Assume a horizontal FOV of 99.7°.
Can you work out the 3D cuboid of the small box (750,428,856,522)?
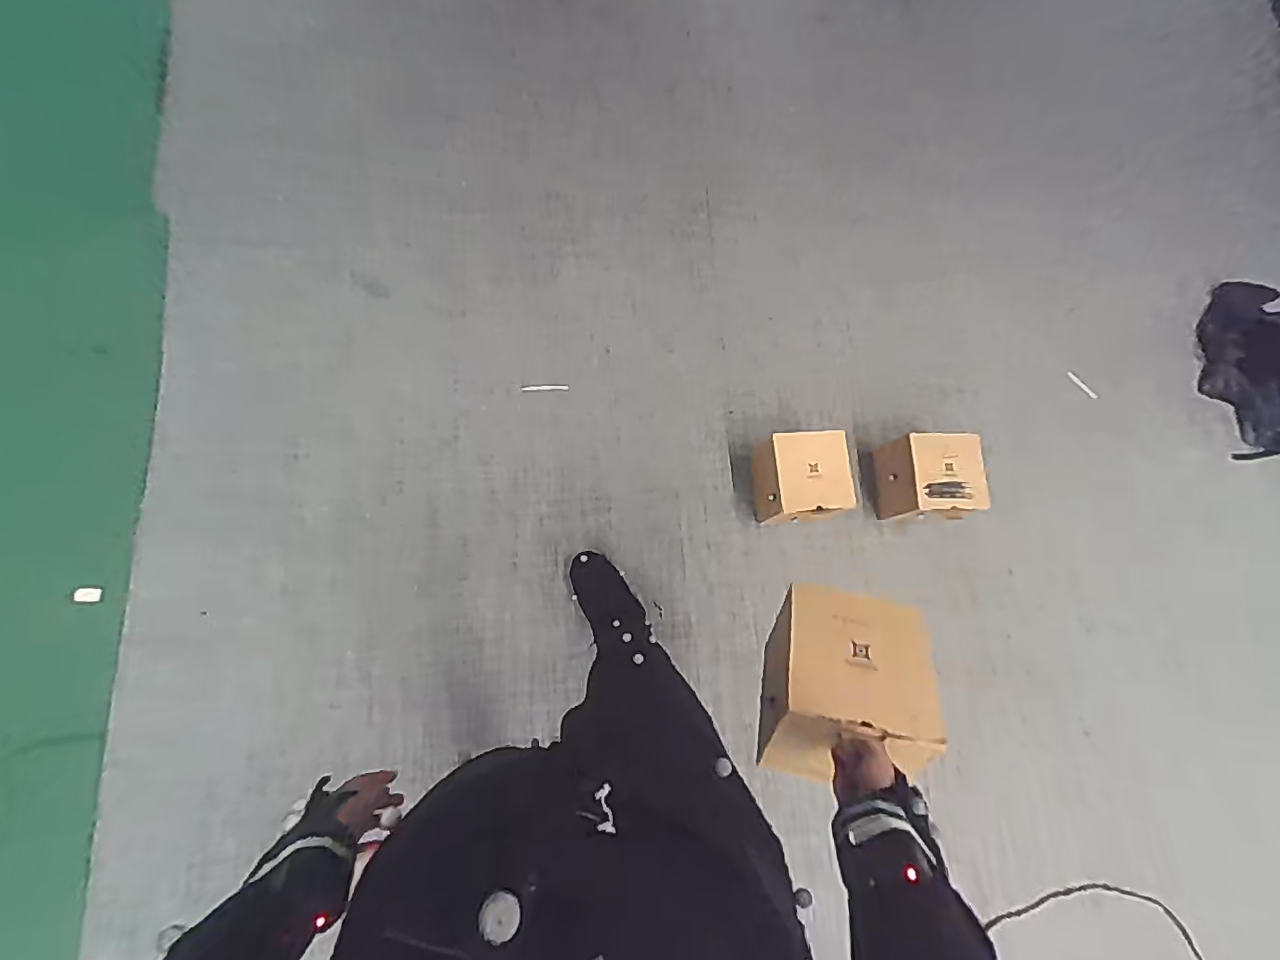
[{"bbox_3d":[0.357,-0.007,1.217,0.168,0.176,0.179,-4,79,-7],"label":"small box"}]

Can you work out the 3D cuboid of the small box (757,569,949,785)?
[{"bbox_3d":[0.244,0.242,0.663,0.168,0.176,0.179,11,43,7],"label":"small box"}]
